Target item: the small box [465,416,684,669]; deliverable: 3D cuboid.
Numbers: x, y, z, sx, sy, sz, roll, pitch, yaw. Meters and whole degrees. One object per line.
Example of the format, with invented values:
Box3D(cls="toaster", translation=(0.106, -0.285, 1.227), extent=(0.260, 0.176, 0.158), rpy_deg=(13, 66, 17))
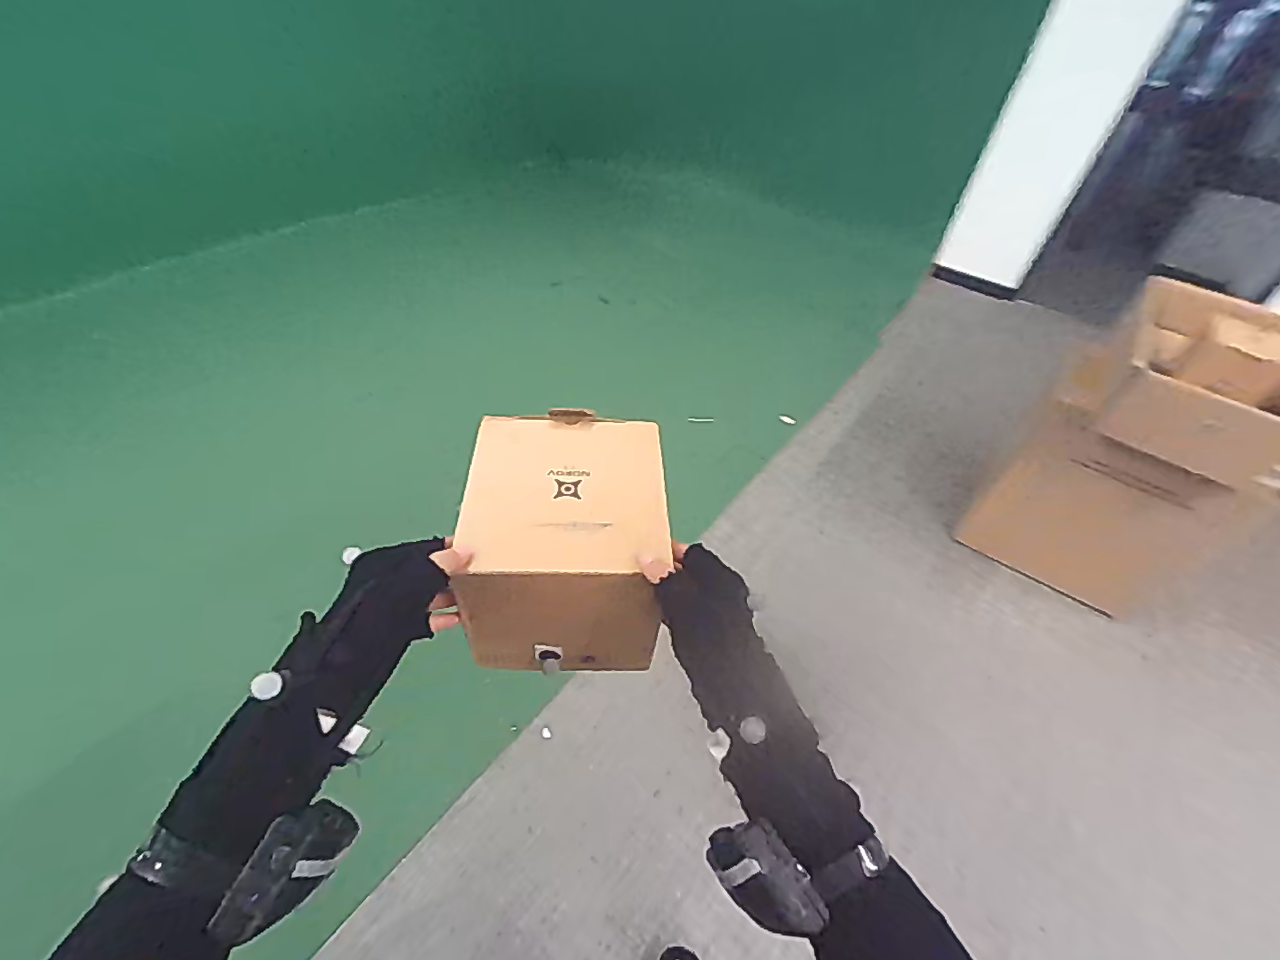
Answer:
Box3D(cls="small box", translation=(-0.058, 0.061, 0.512), extent=(0.168, 0.176, 0.179), rpy_deg=(1, 48, -6))
